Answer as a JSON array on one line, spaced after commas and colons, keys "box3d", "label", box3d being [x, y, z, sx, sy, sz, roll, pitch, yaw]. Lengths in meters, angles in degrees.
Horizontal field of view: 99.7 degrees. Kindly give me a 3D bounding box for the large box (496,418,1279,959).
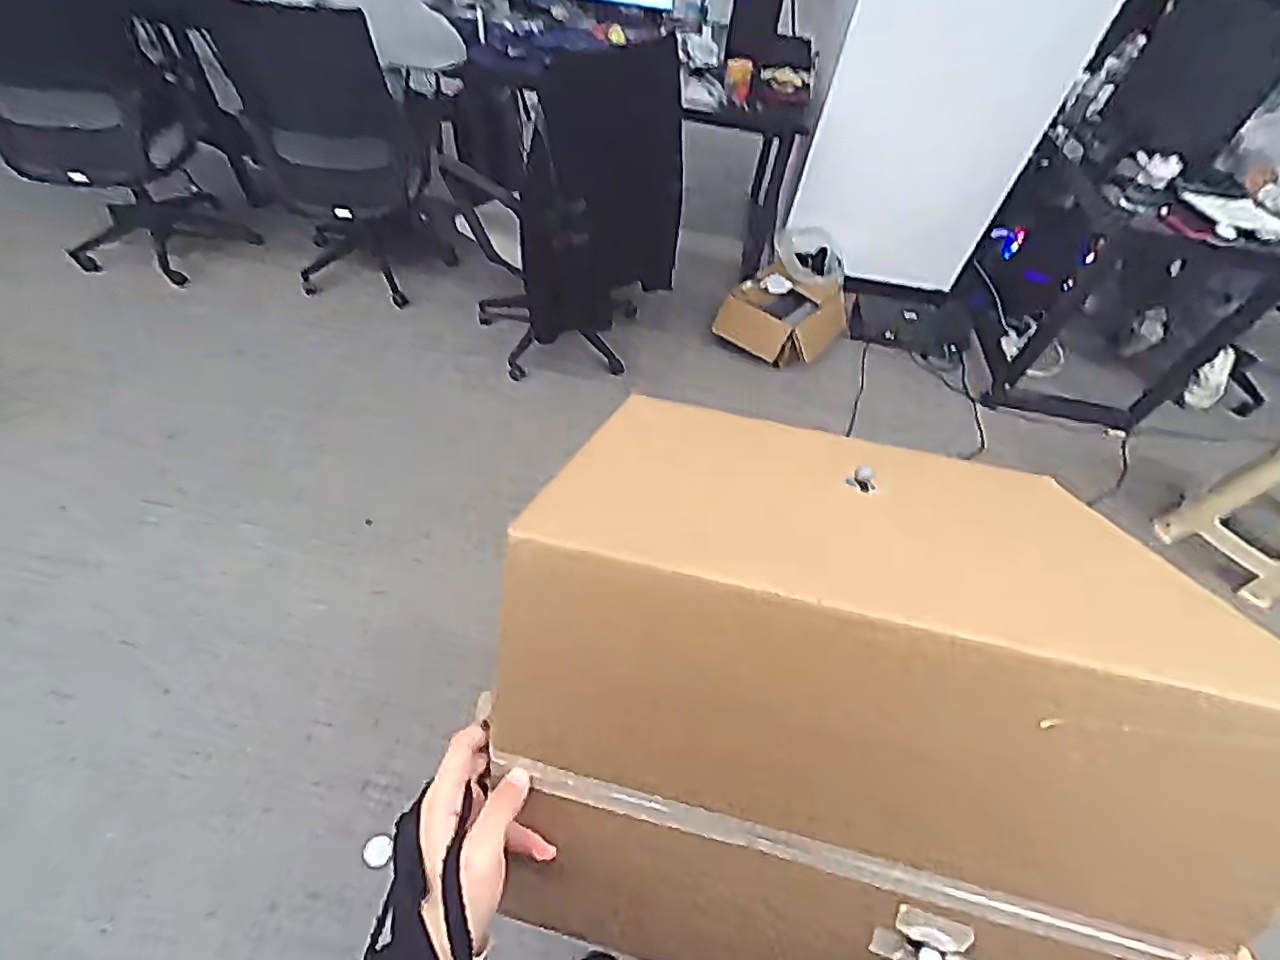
[{"box3d": [0.131, 0.157, 0.452, 0.408, 0.320, 0.320, 11, 23, 6], "label": "large box"}]
